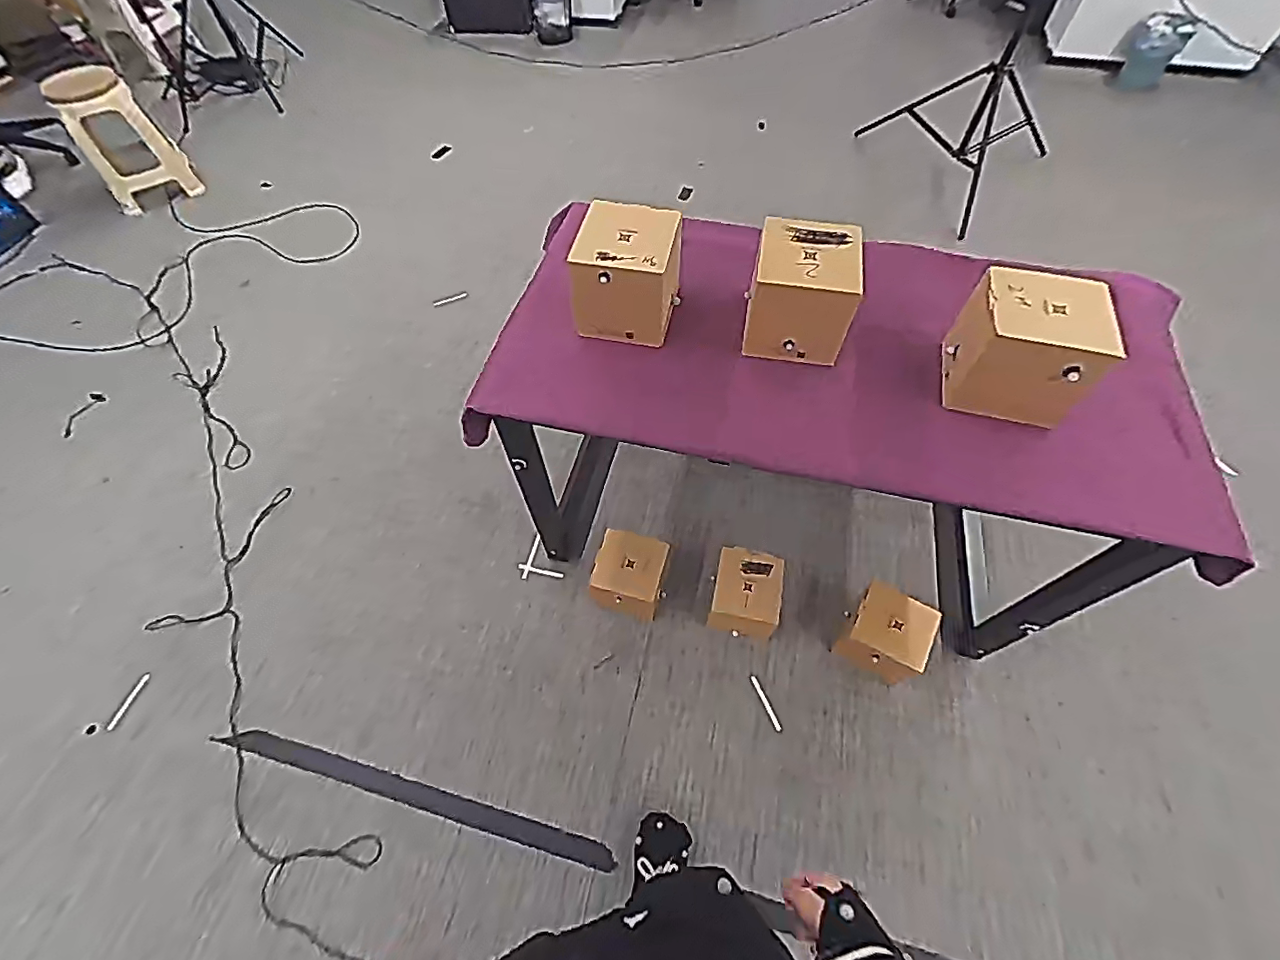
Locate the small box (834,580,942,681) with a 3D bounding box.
[{"bbox_3d":[0.618,0.387,1.362,0.179,0.176,0.168,26,63,18],"label":"small box"}]

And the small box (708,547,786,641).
[{"bbox_3d":[0.276,0.303,1.420,0.168,0.176,0.179,11,60,8],"label":"small box"}]

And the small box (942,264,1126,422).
[{"bbox_3d":[0.619,-0.215,0.874,0.179,0.176,0.168,13,59,10],"label":"small box"}]

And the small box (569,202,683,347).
[{"bbox_3d":[-0.021,-0.373,0.988,0.168,0.176,0.179,10,59,7],"label":"small box"}]
